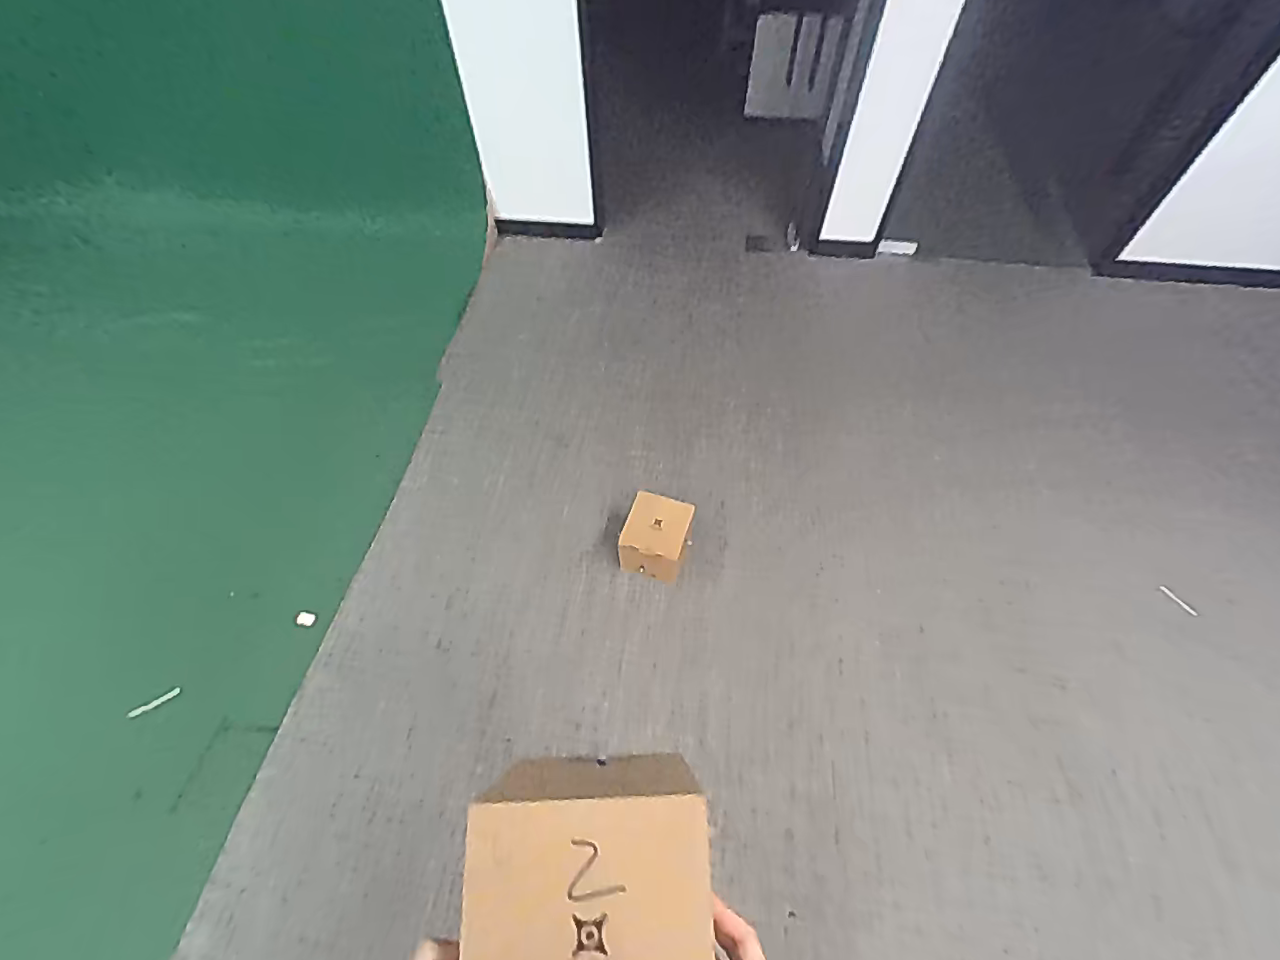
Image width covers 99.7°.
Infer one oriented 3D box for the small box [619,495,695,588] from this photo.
[{"bbox_3d":[0.046,0.176,1.522,0.168,0.176,0.179,16,58,11],"label":"small box"}]
